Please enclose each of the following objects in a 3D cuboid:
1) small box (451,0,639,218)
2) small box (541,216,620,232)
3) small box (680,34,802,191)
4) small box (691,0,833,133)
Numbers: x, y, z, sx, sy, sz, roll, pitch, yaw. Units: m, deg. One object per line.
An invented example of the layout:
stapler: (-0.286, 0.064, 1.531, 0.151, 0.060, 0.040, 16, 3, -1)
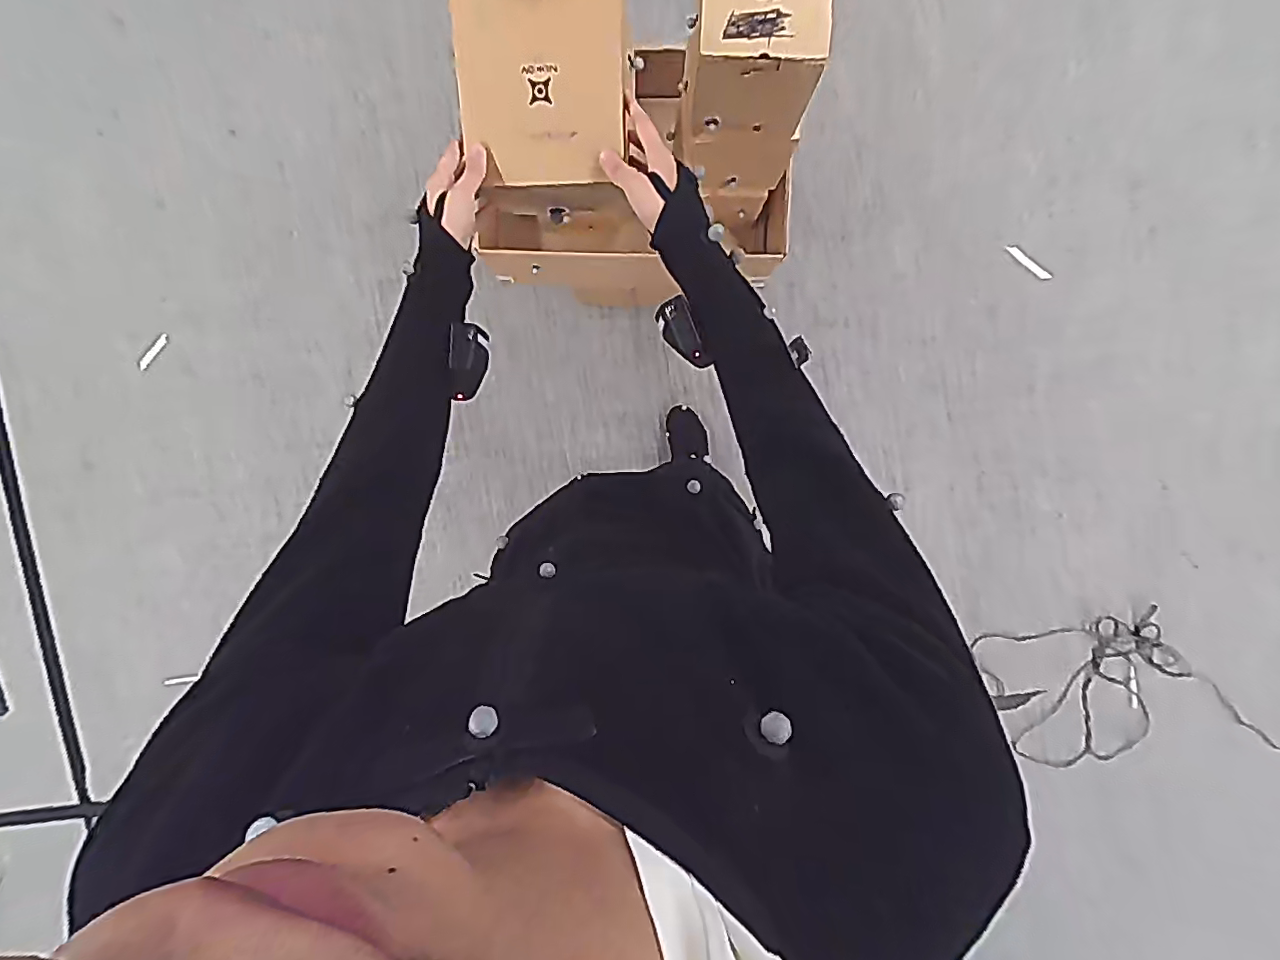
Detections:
small box: (-0.090, -0.402, 0.596, 0.168, 0.176, 0.179, 0, 106, 5)
small box: (-0.125, -0.615, 1.086, 0.168, 0.176, 0.179, -1, 93, 0)
small box: (0.164, -0.611, 0.916, 0.179, 0.176, 0.168, -1, 93, 0)
small box: (0.162, -0.616, 0.751, 0.168, 0.176, 0.179, 3, 93, 0)
